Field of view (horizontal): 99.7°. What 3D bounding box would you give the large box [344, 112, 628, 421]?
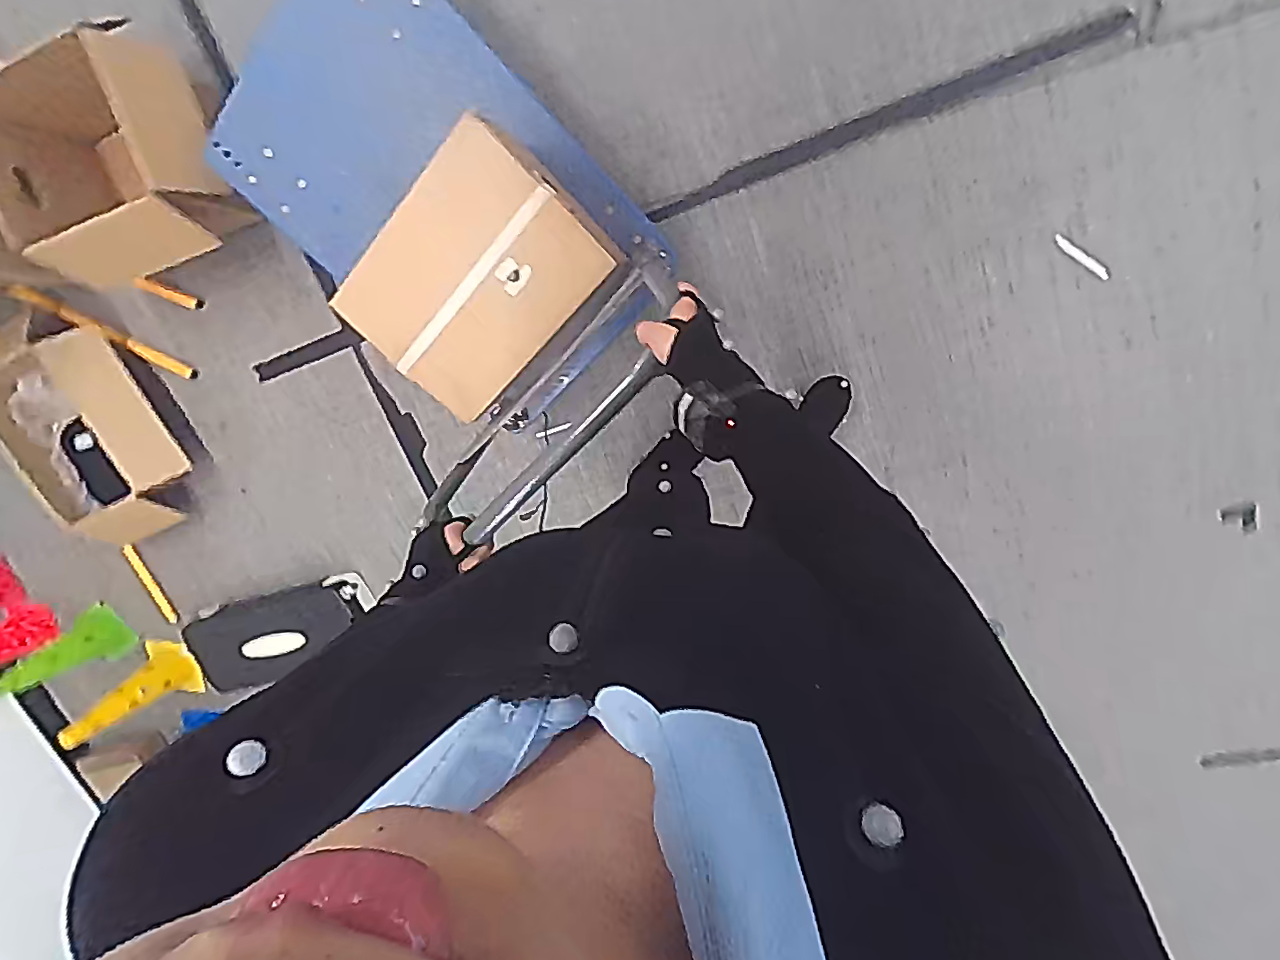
[{"bbox_3d":[-0.273,-0.392,1.059,0.320,0.320,0.408,42,108,-15],"label":"large box"}]
